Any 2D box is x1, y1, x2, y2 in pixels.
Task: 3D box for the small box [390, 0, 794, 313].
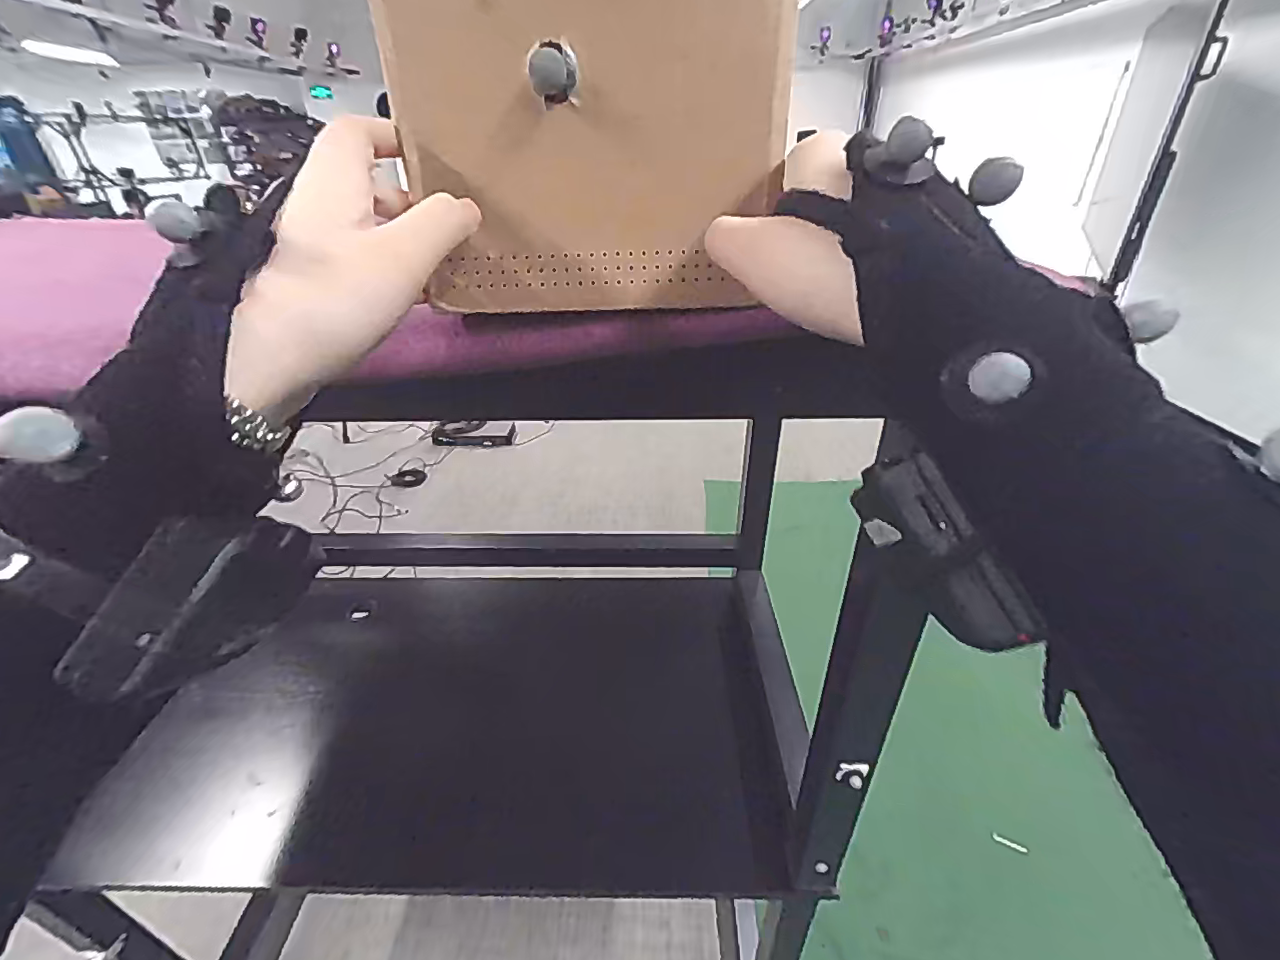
[{"bbox_3d":[-0.017,-0.195,0.302,0.179,0.176,0.168,-1,29,2],"label":"small box"}]
